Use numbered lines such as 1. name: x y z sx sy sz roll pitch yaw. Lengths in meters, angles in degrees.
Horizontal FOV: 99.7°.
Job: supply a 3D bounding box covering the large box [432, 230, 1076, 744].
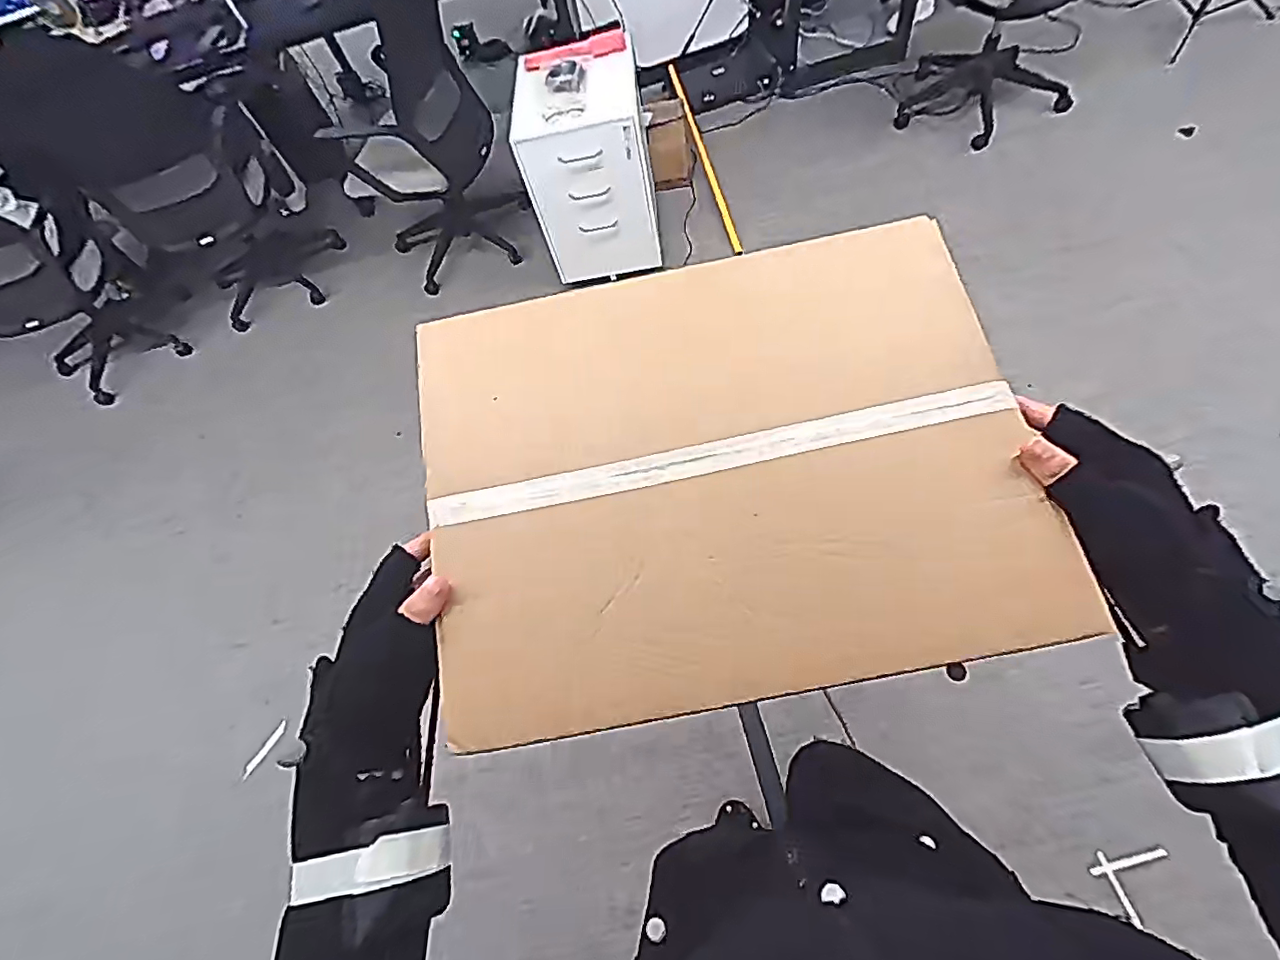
1. large box: 0.068 0.026 0.526 0.408 0.320 0.320 -11 72 1
